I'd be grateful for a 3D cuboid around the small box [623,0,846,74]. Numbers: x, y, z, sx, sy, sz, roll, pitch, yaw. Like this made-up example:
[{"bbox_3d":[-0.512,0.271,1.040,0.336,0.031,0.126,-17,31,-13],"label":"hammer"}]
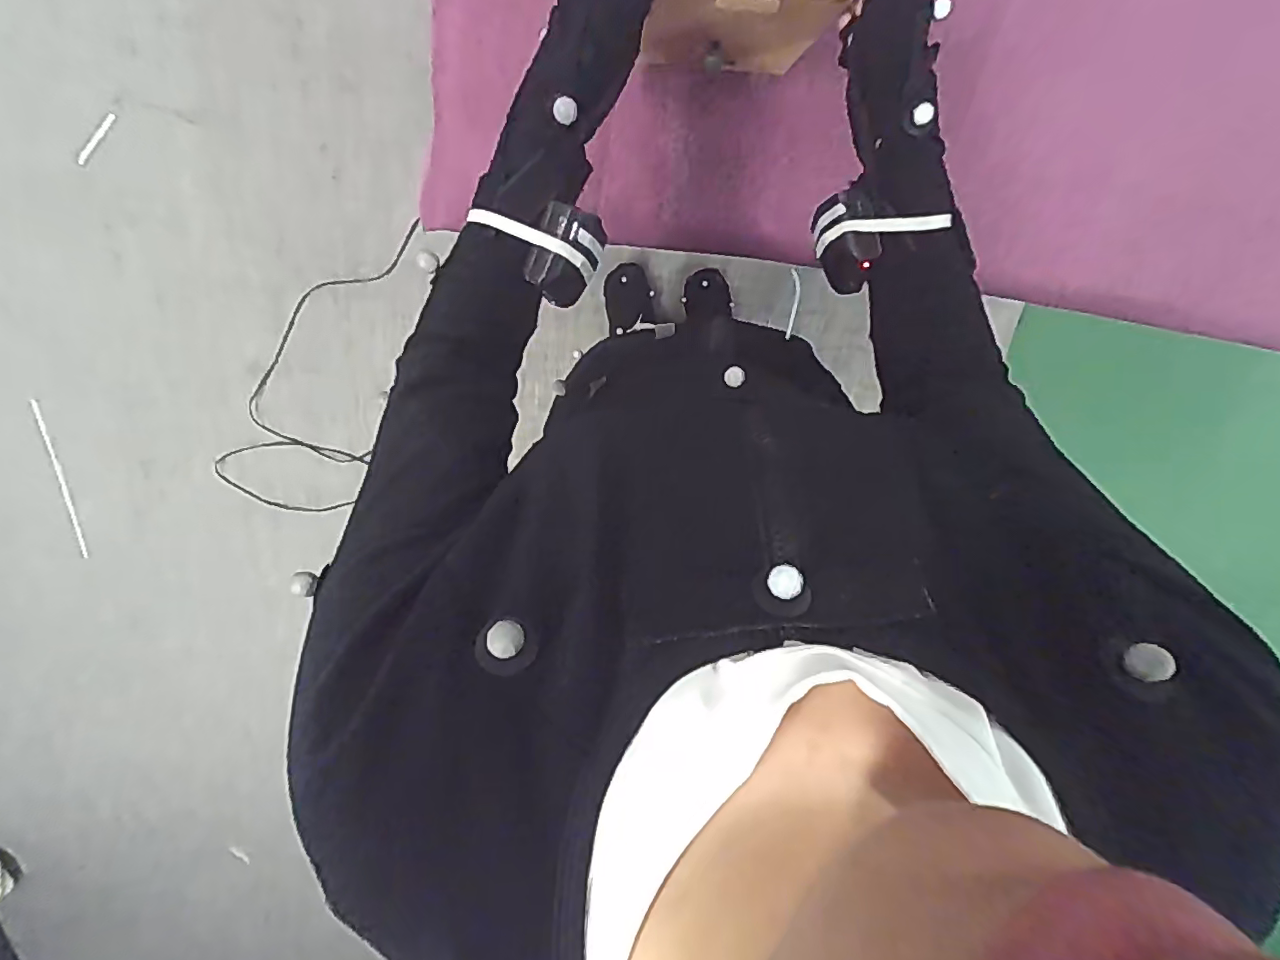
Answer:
[{"bbox_3d":[0.075,-0.465,0.433,0.168,0.176,0.179,2,111,-5],"label":"small box"}]
